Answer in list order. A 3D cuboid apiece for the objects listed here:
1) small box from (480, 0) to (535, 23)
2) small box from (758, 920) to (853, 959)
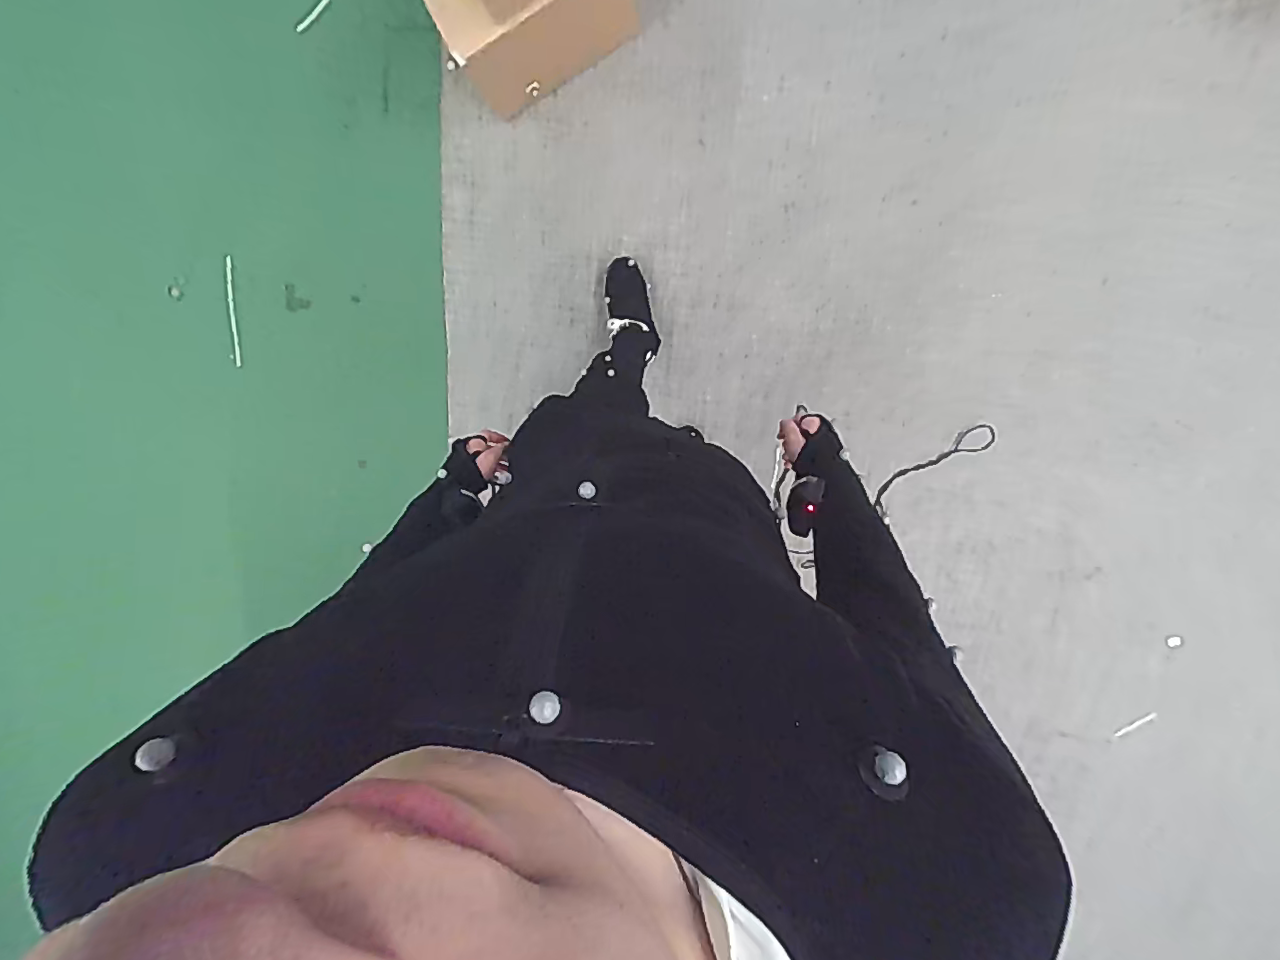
[{"bbox_3d":[-0.254,-0.994,0.976,0.179,0.176,0.168,-25,101,11],"label":"small box"},{"bbox_3d":[0.318,0.983,1.014,0.168,0.176,0.179,4,107,4],"label":"small box"}]
